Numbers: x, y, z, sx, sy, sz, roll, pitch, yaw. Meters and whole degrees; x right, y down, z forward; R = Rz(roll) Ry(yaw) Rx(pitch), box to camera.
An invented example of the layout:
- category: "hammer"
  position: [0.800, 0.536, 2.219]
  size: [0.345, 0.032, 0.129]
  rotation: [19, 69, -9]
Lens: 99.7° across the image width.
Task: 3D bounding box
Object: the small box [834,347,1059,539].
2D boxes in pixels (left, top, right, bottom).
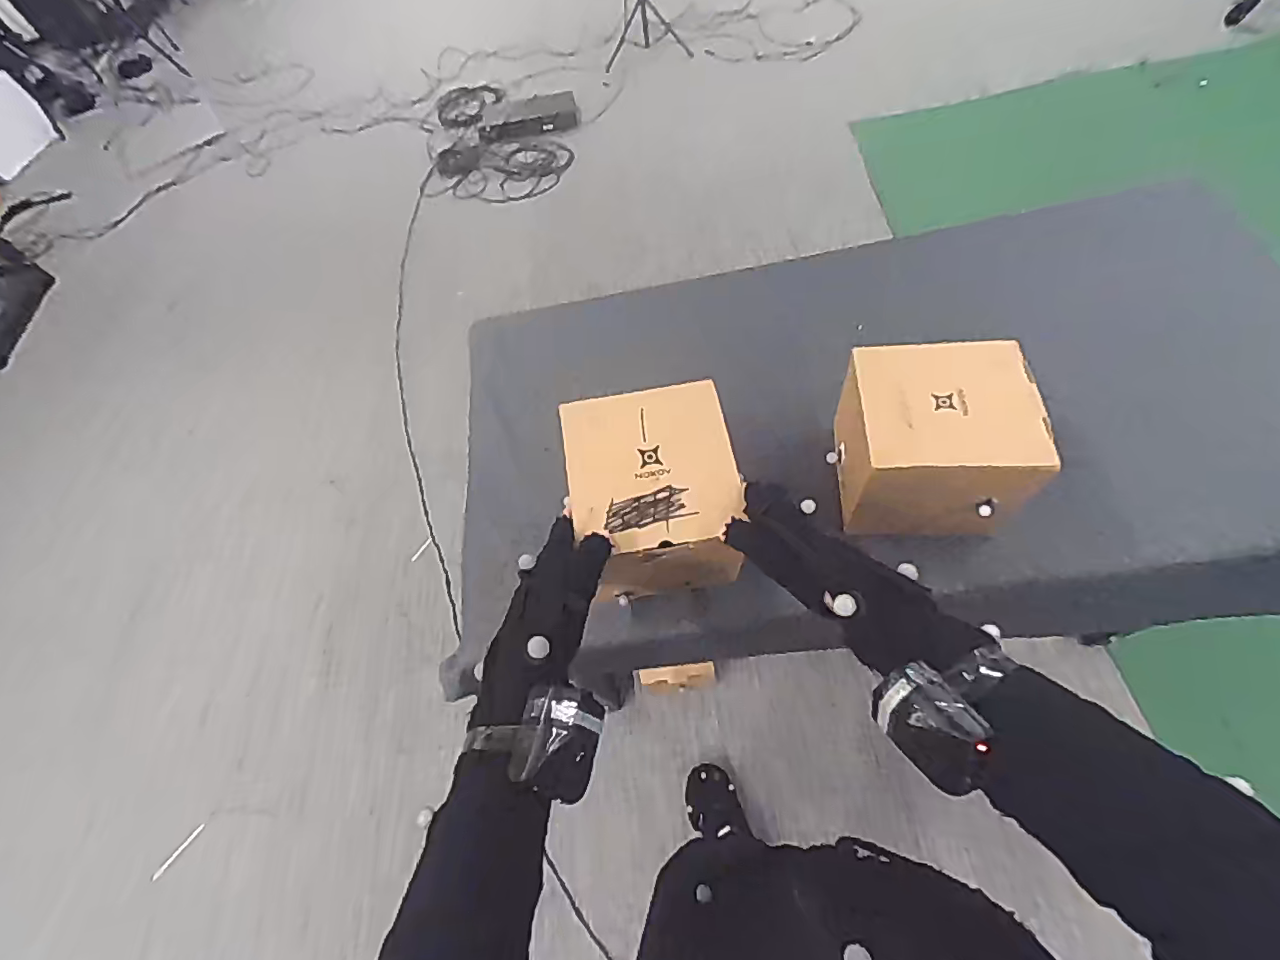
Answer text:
- category: "small box"
  position: [0.341, -0.037, 0.644]
  size: [0.179, 0.176, 0.168]
  rotation: [-1, 60, 10]

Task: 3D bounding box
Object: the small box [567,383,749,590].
- category: "small box"
  position: [0.018, 0.019, 0.611]
  size: [0.168, 0.176, 0.179]
  rotation: [-8, 64, -1]
